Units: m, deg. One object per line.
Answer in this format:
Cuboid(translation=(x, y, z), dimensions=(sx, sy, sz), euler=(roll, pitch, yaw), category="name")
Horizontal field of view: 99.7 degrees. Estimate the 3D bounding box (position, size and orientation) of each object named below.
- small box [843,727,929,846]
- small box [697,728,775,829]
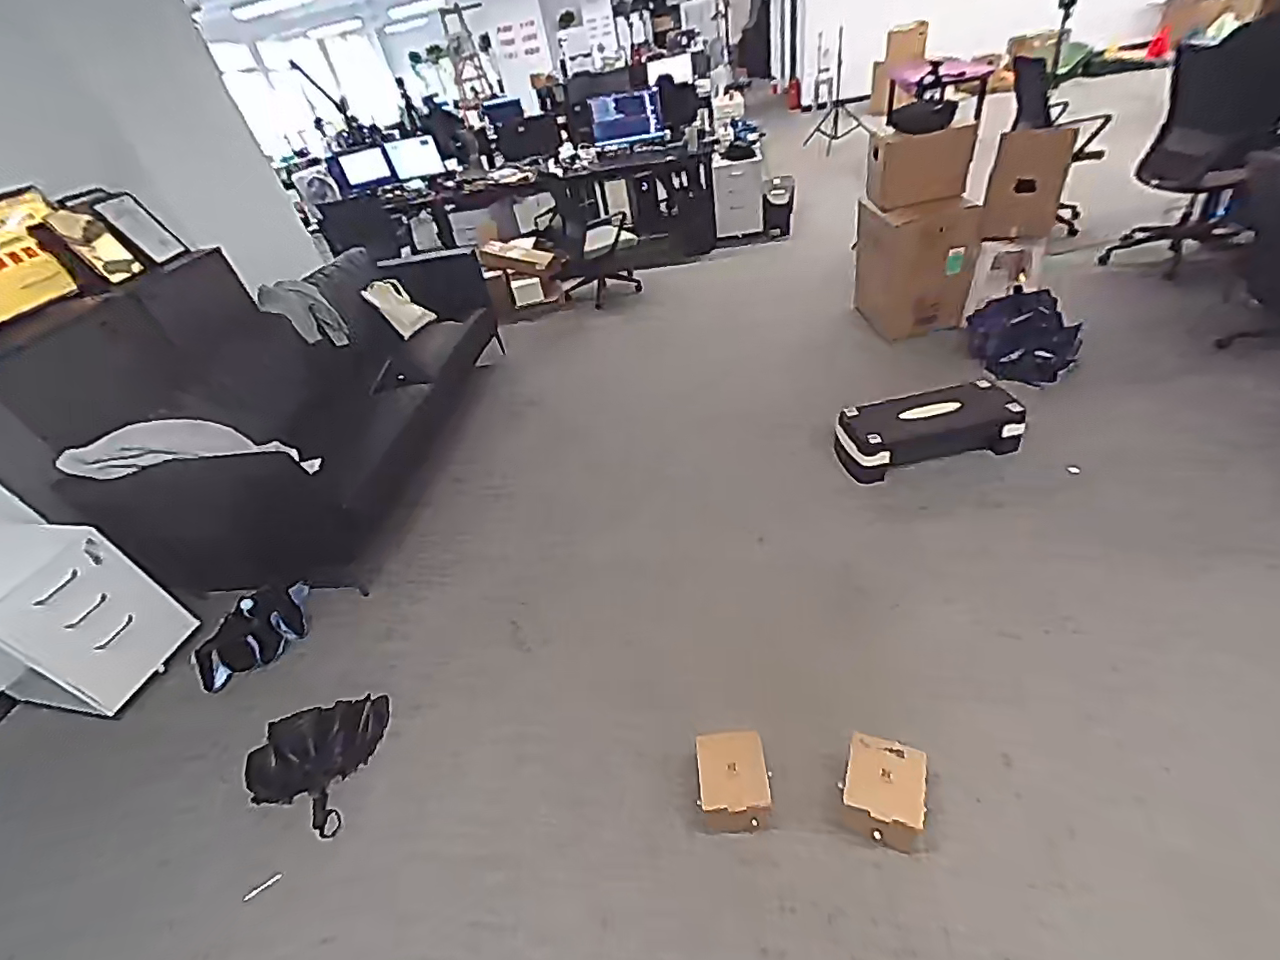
Cuboid(translation=(0.583, 0.732, 1.289), dimensions=(0.168, 0.176, 0.179), euler=(7, 44, 25), category="small box")
Cuboid(translation=(0.242, 0.757, 1.364), dimensions=(0.168, 0.176, 0.179), euler=(-8, 38, 4), category="small box")
